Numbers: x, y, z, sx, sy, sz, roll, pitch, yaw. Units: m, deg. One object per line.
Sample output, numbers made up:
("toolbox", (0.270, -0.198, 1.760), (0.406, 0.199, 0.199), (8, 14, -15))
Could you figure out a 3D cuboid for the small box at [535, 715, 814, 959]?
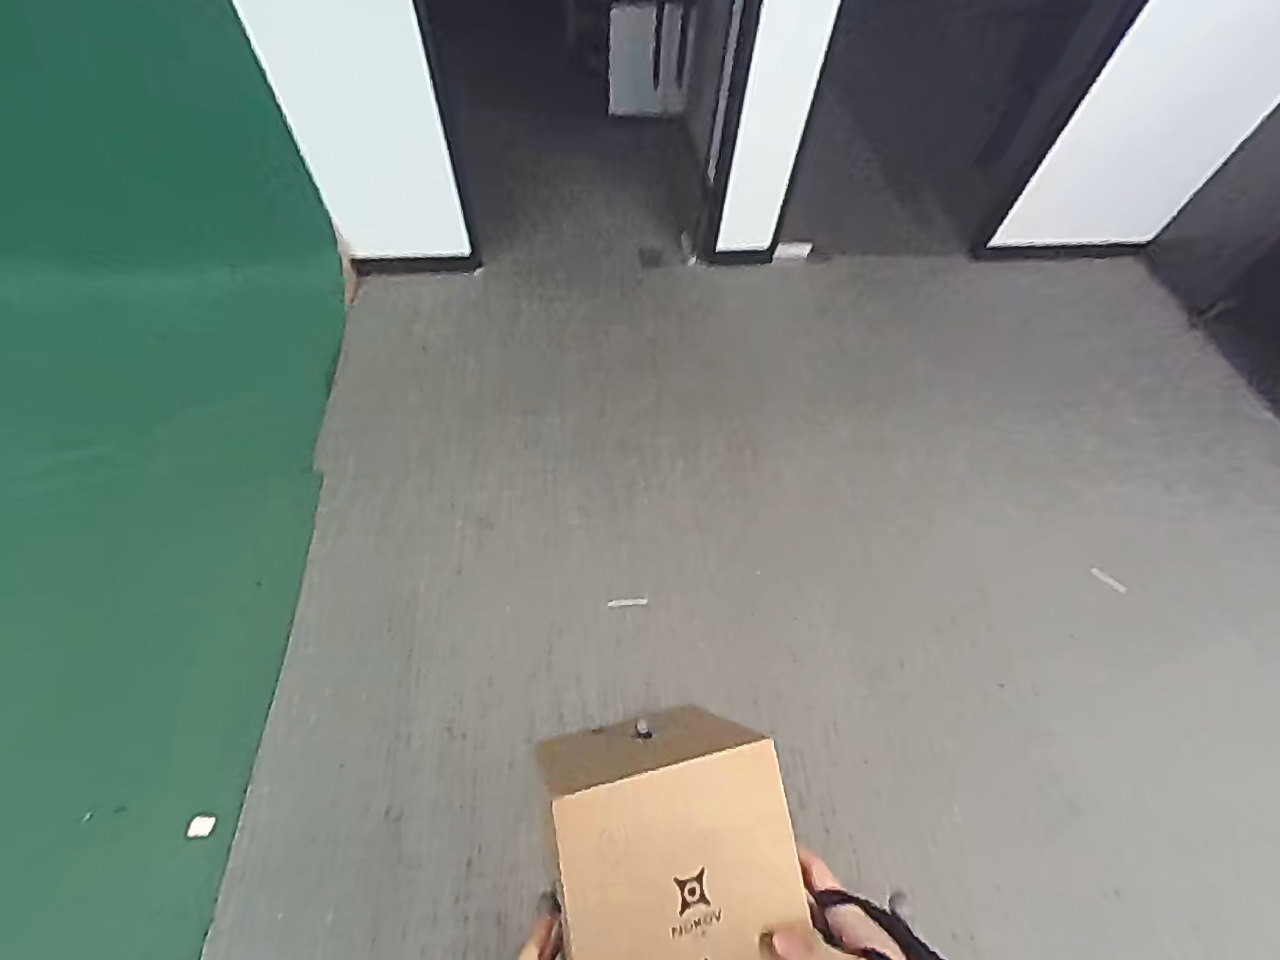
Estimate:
("small box", (0.012, 0.302, 0.436), (0.168, 0.176, 0.179), (-6, 79, -17))
